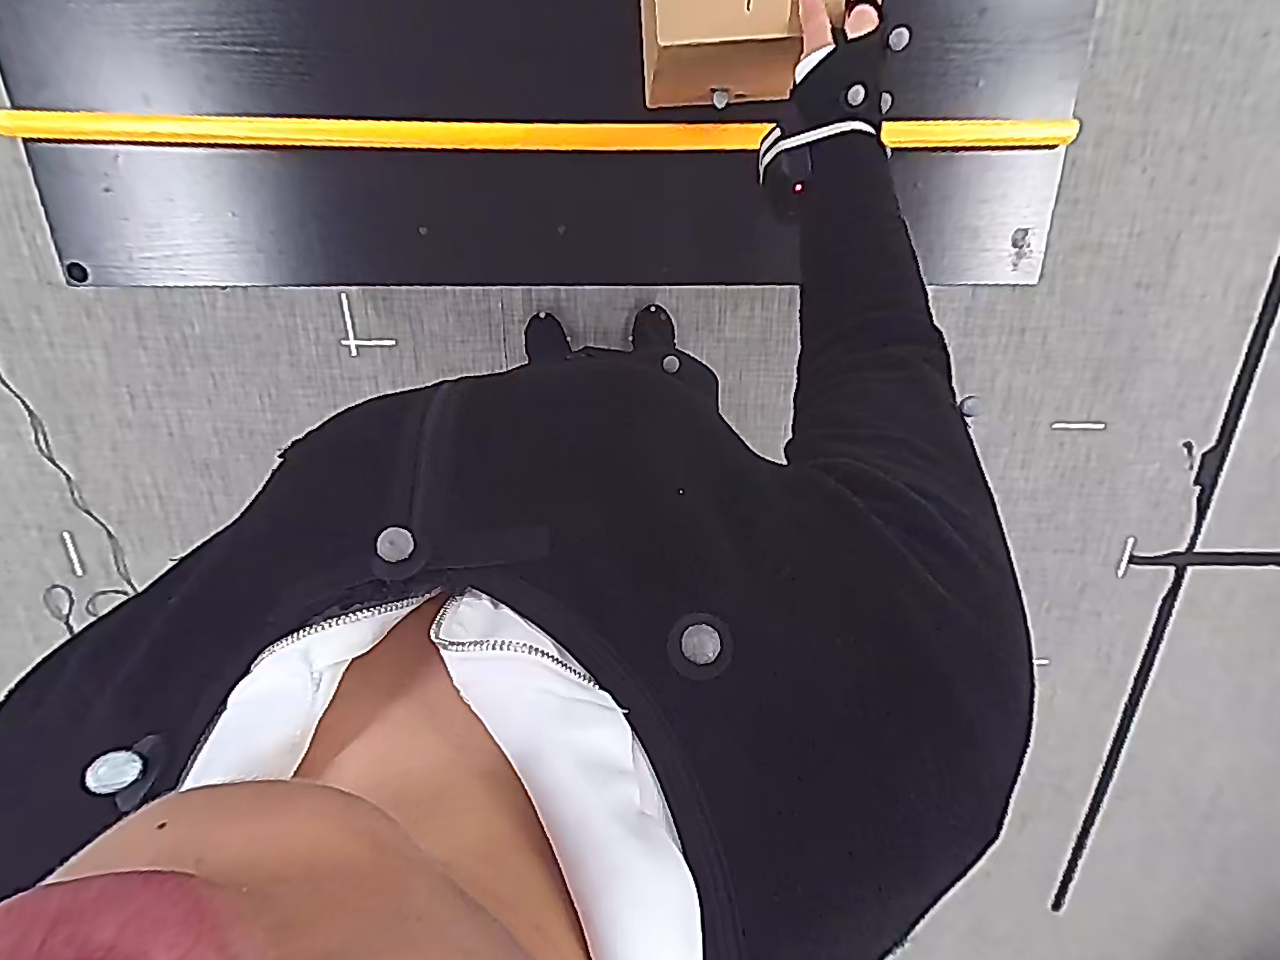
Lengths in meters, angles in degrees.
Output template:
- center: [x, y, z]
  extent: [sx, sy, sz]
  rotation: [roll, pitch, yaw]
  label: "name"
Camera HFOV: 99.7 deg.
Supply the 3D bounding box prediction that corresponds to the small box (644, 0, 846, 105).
- center: [0.089, -0.492, 0.519]
  extent: [0.168, 0.176, 0.179]
  rotation: [-4, 109, -1]
  label: "small box"
